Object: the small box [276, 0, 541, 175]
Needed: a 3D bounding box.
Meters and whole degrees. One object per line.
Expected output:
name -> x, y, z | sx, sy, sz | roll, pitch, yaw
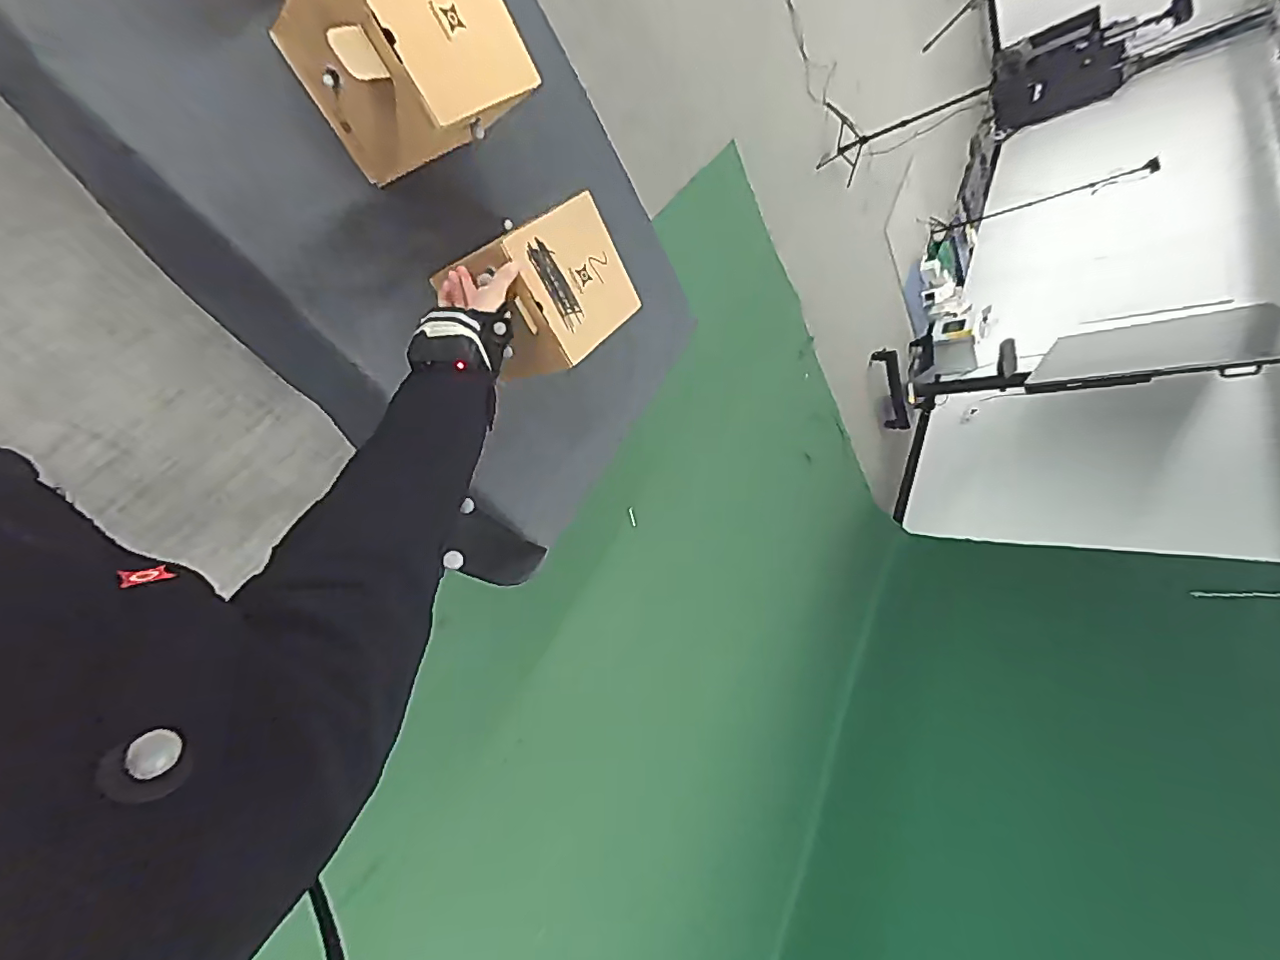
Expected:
small box -> -0.252, -0.474, 0.598 | 0.179, 0.176, 0.168 | -54, 128, -33
